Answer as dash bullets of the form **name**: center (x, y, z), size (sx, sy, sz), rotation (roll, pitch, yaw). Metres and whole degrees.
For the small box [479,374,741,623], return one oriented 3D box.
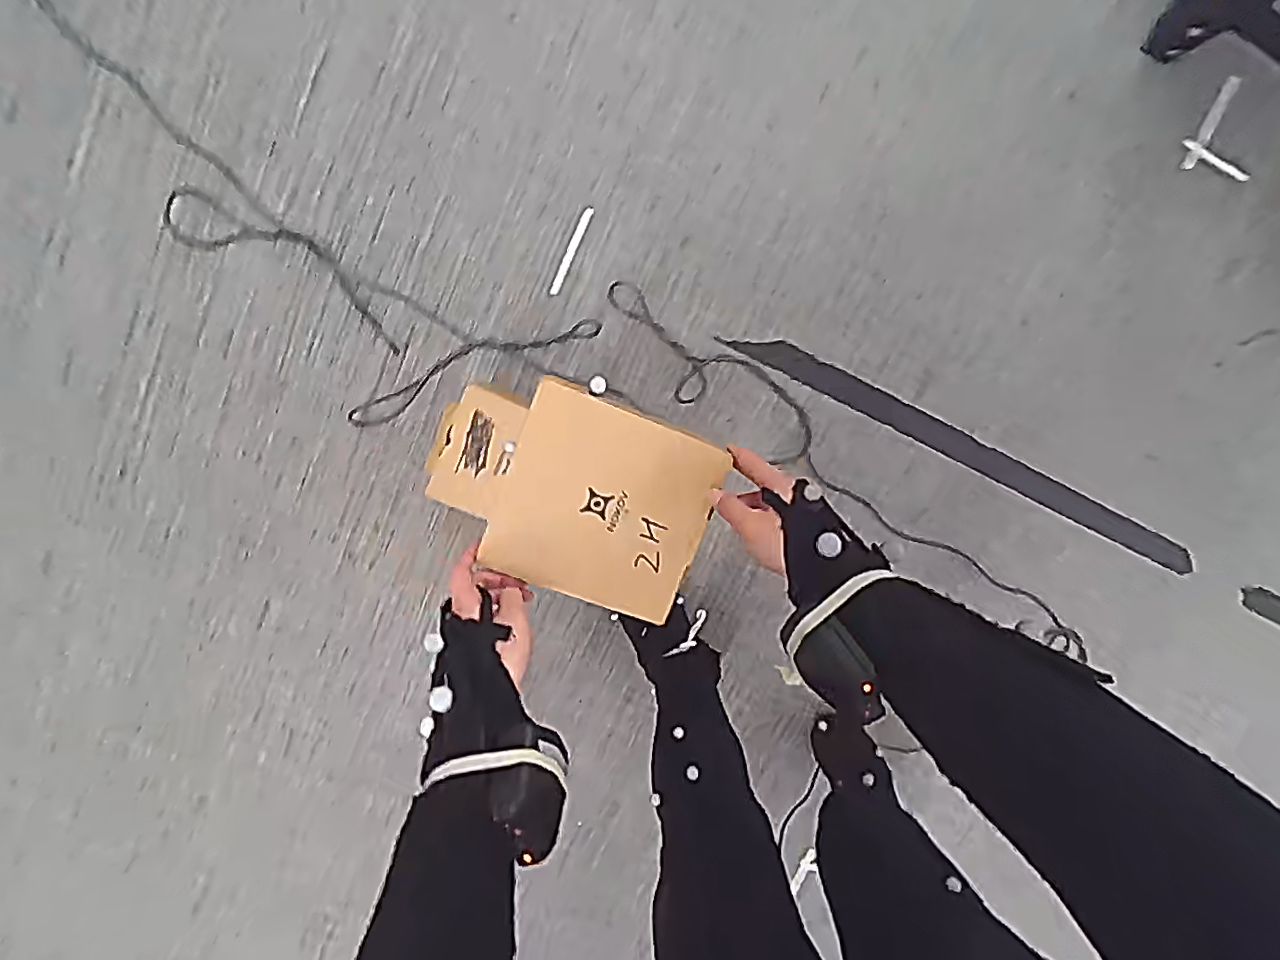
- **small box**: center (-0.033, 0.008, 0.526), size (0.179, 0.176, 0.168), rotation (21, 98, -10)

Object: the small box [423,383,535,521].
- **small box**: center (-0.192, -0.035, 0.812), size (0.179, 0.176, 0.168), rotation (23, 98, -10)
